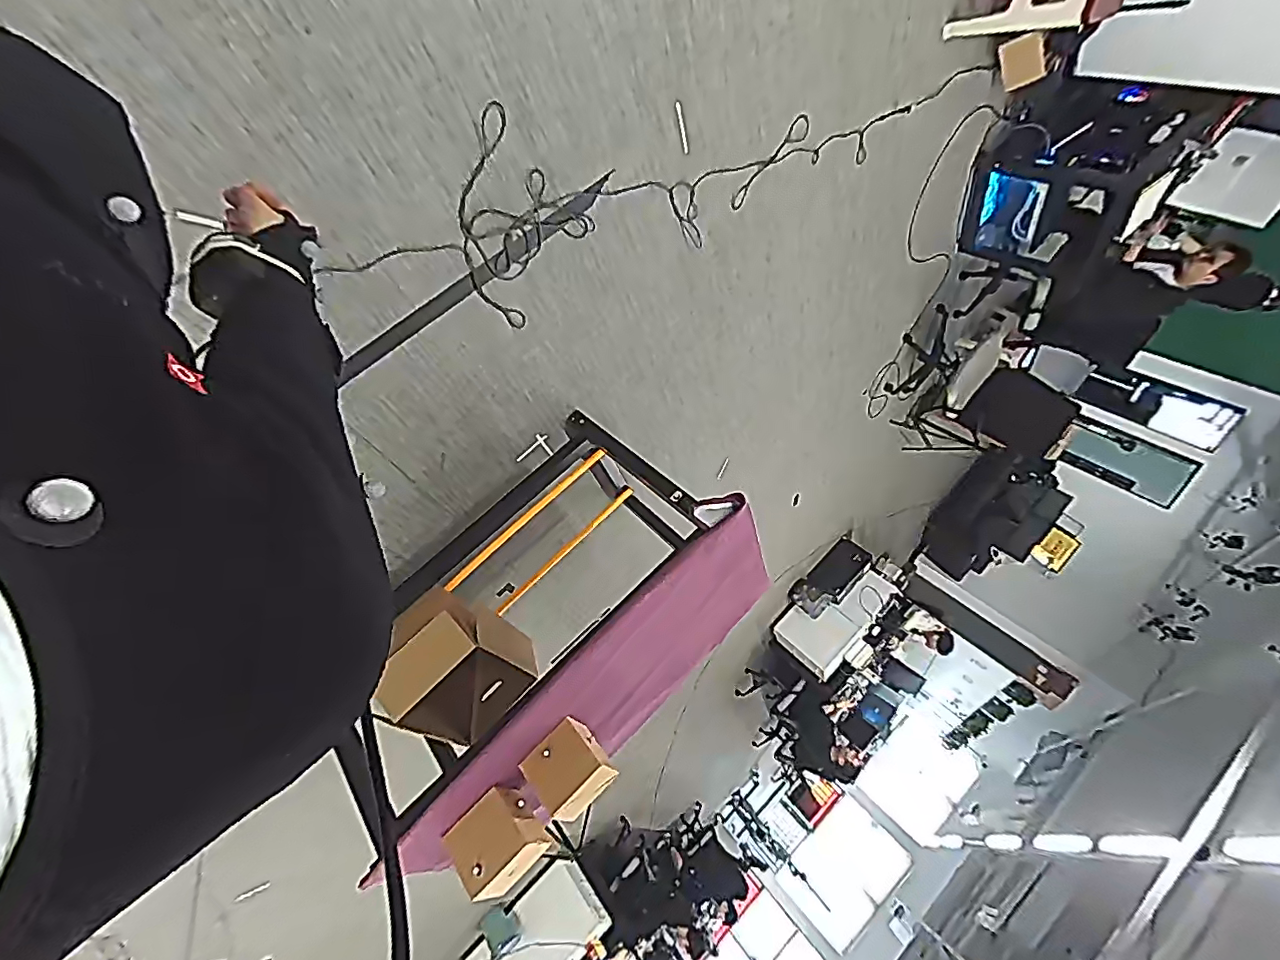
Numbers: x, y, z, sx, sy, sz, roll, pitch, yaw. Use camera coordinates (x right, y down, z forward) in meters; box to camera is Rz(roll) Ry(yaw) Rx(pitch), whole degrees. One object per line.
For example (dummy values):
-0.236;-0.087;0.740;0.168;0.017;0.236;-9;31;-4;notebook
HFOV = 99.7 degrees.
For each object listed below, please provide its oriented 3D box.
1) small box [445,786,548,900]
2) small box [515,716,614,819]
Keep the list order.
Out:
-0.376;0.932;1.395;0.179;0.176;0.168;-42;147;-13;small box
-0.196;0.778;1.460;0.179;0.176;0.168;-42;146;-14;small box
